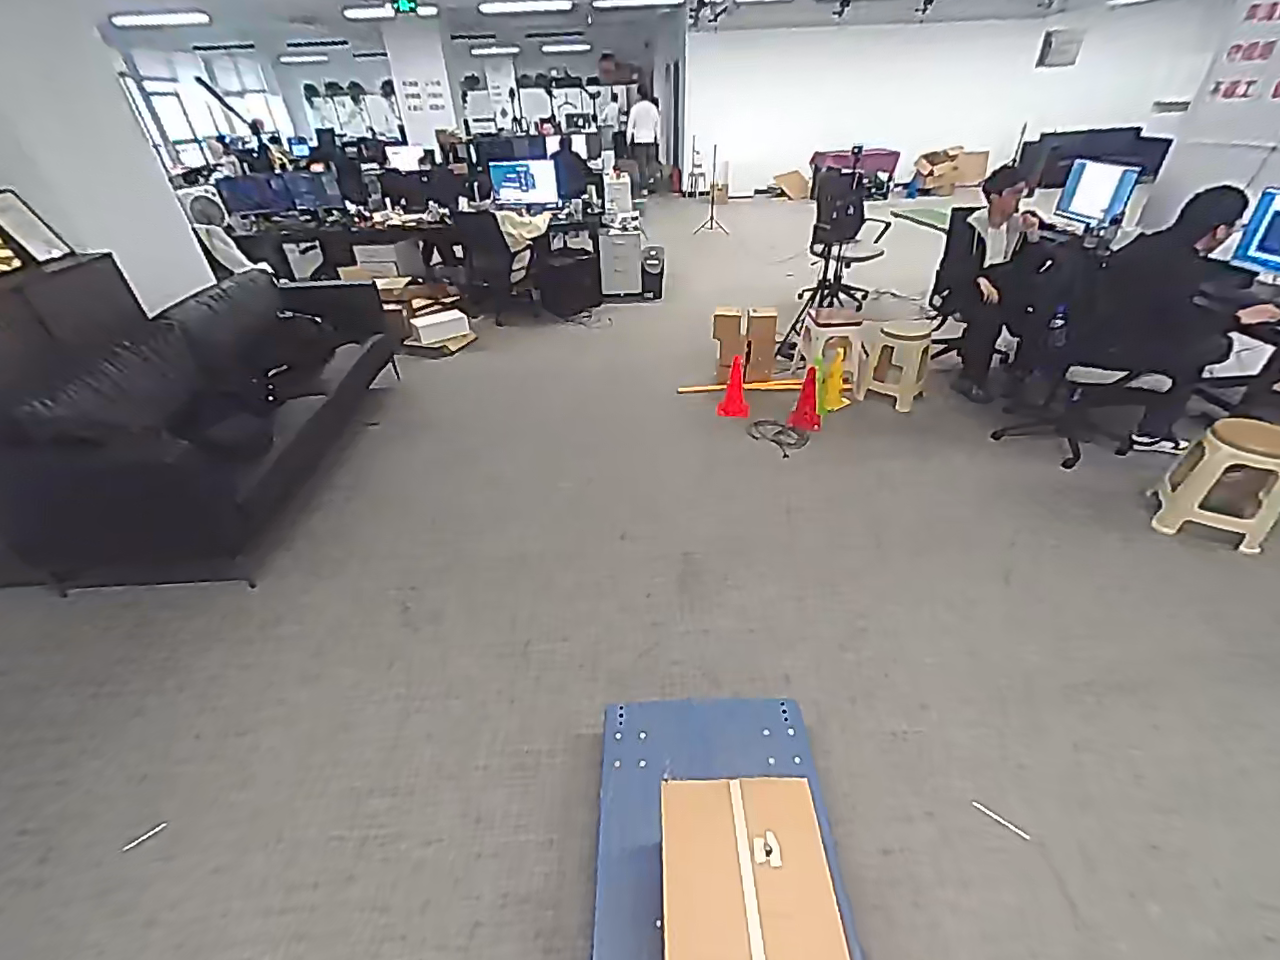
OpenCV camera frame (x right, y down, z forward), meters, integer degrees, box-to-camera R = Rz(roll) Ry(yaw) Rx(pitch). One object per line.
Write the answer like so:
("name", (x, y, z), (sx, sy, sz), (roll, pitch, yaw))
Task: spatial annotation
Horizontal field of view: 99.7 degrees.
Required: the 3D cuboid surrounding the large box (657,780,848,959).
("large box", (0.201, 0.881, 1.073), (0.320, 0.320, 0.408), (-2, 34, 1))
